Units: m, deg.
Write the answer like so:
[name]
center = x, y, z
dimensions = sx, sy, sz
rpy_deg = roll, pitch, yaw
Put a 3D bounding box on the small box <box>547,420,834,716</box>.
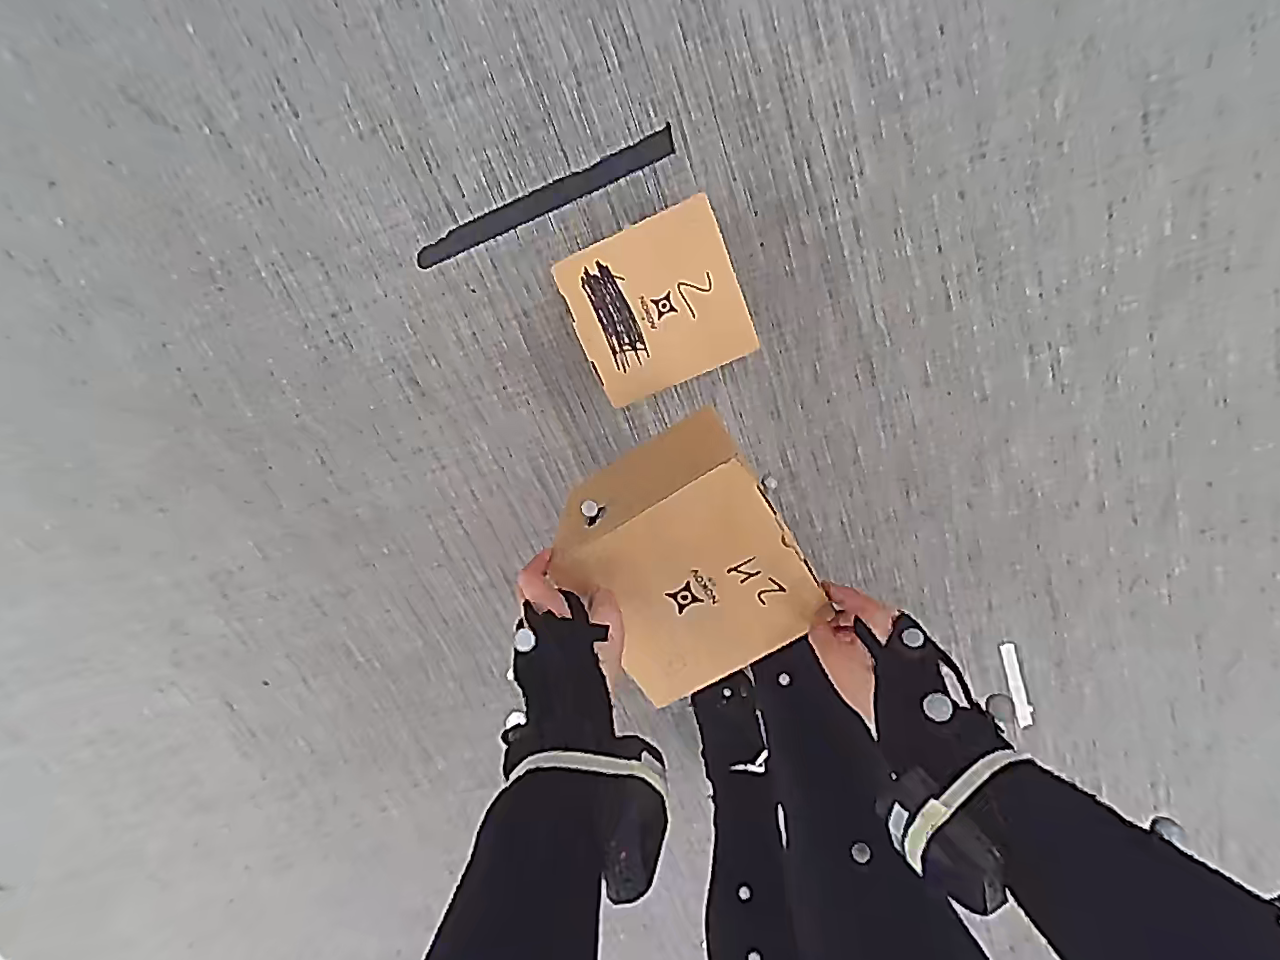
[small box]
center = 0.042, 0.069, 0.499
dimensions = 0.179, 0.176, 0.168
rpy_deg = -31, 108, 10
